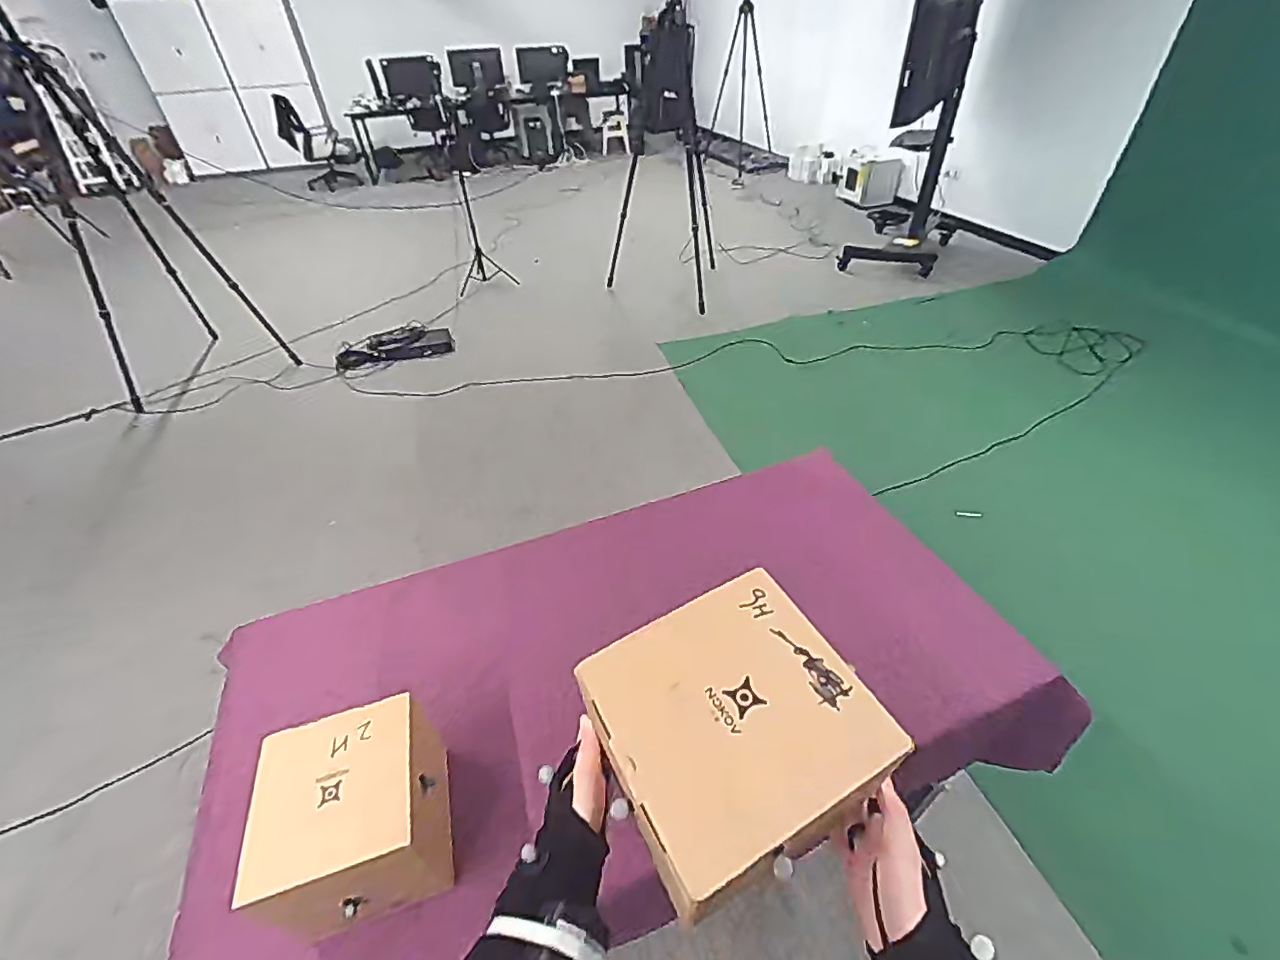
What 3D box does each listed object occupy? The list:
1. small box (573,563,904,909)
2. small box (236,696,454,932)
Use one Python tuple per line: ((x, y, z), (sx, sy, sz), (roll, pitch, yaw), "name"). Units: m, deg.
((0.069, 0.206, 0.436), (0.179, 0.176, 0.168), (-24, 50, -15), "small box")
((-0.327, 0.395, 0.638), (0.168, 0.176, 0.179), (-14, 42, -12), "small box")
